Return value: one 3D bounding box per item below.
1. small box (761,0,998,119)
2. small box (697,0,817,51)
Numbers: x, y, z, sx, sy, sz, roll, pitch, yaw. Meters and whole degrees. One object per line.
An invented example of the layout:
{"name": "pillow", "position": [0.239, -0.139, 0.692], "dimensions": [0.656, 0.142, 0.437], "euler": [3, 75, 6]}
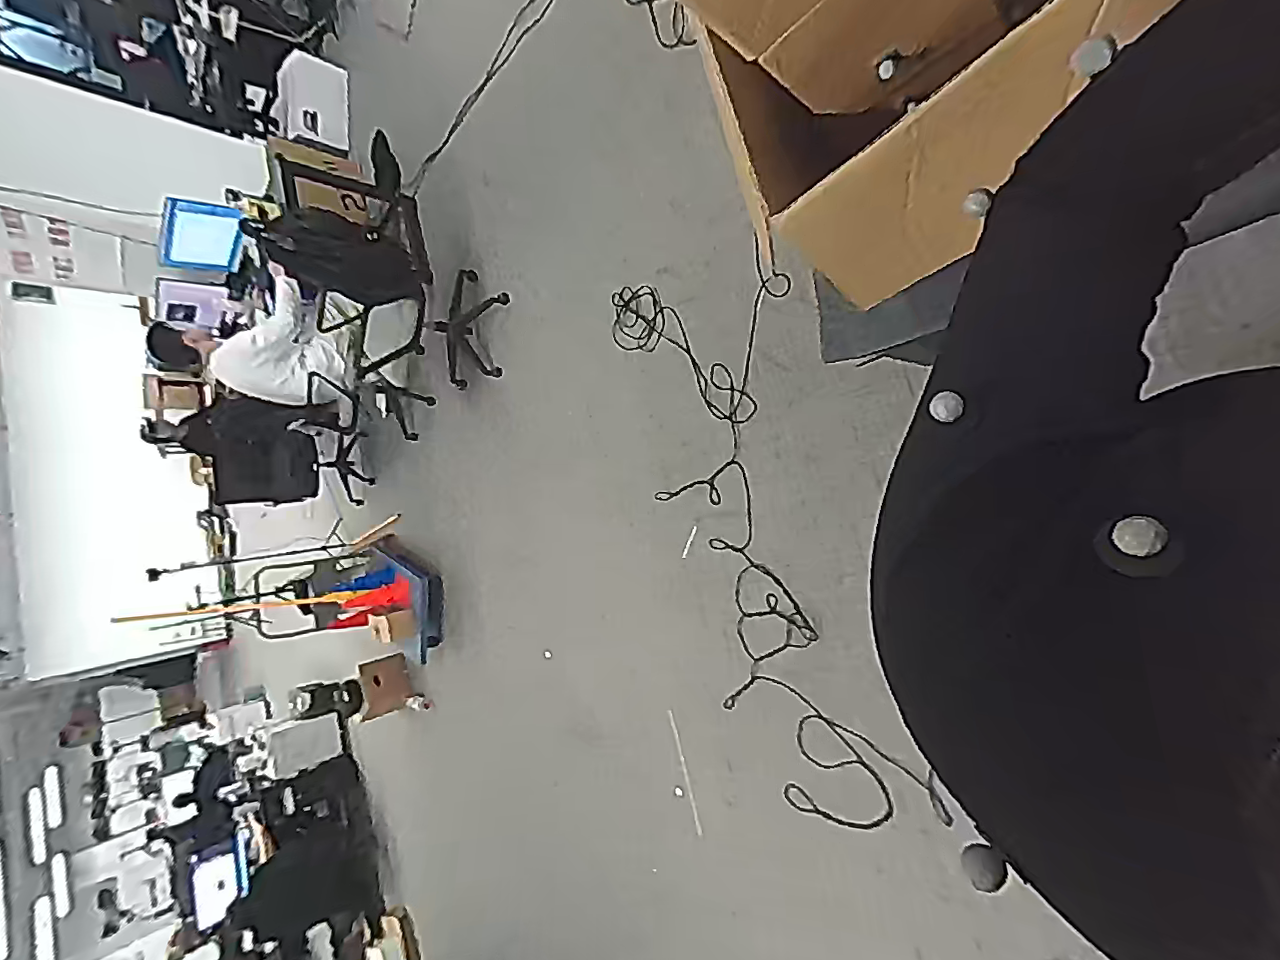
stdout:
{"name": "small box", "position": [0.209, -0.495, 0.510], "dimensions": [0.168, 0.176, 0.179], "euler": [-18, 84, 44]}
{"name": "small box", "position": [0.095, -0.479, 0.396], "dimensions": [0.179, 0.176, 0.168], "euler": [-16, 83, 44]}
